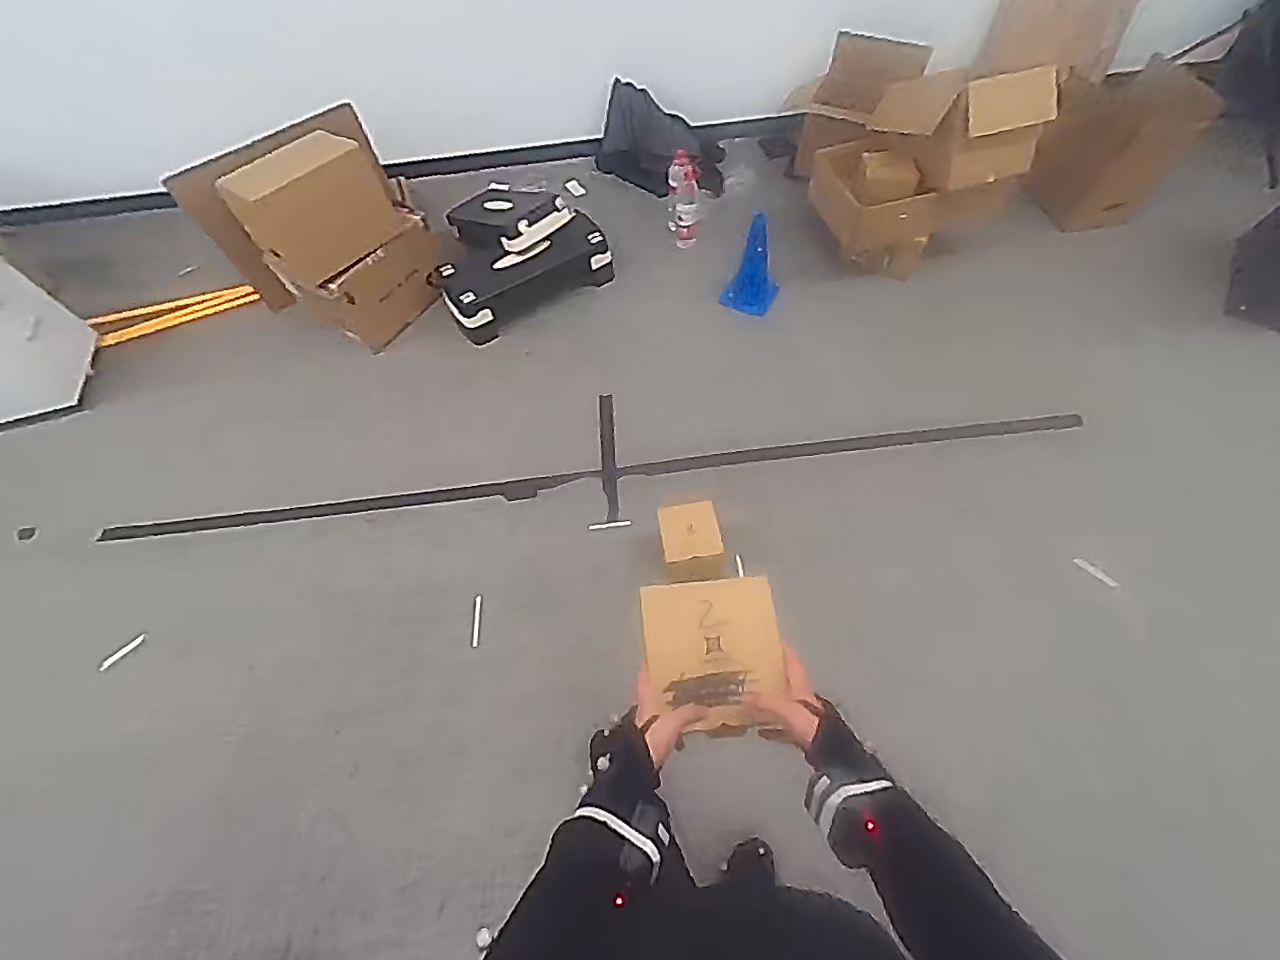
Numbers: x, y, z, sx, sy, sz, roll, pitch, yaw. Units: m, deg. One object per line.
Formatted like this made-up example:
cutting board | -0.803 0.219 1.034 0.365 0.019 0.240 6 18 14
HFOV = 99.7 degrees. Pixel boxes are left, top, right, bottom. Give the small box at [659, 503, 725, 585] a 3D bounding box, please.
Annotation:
small box | 0.149 0.192 1.601 0.168 0.176 0.179 -9 61 -1
